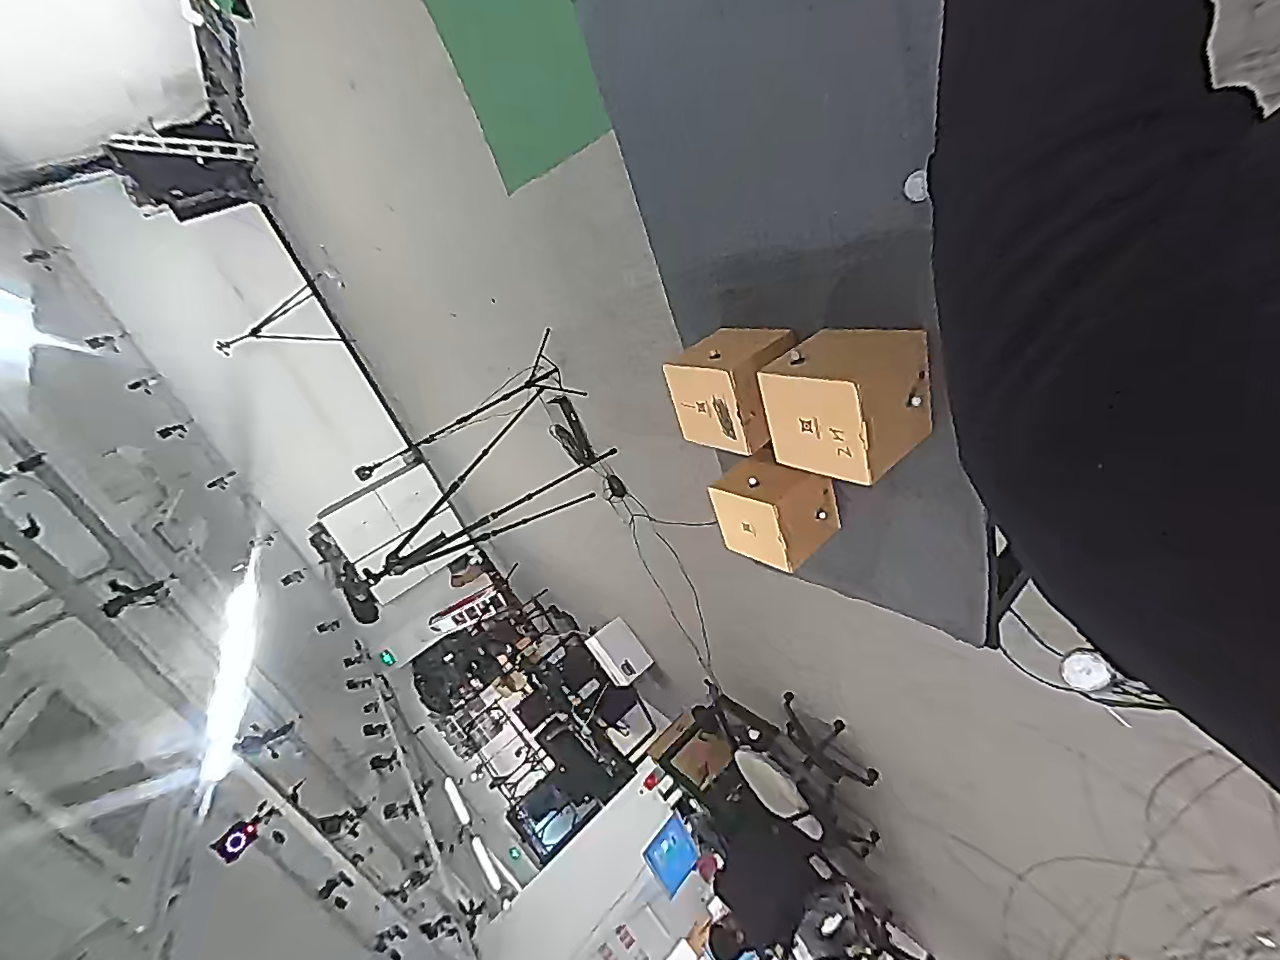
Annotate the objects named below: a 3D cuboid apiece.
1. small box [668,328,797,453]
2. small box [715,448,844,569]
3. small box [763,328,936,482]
[{"bbox_3d":[0.186,-0.174,1.009,0.179,0.176,0.168,20,138,50],"label":"small box"},{"bbox_3d":[0.288,0.050,1.113,0.179,0.176,0.168,17,136,52],"label":"small box"},{"bbox_3d":[0.323,-0.124,0.832,0.179,0.176,0.168,20,138,51],"label":"small box"}]
